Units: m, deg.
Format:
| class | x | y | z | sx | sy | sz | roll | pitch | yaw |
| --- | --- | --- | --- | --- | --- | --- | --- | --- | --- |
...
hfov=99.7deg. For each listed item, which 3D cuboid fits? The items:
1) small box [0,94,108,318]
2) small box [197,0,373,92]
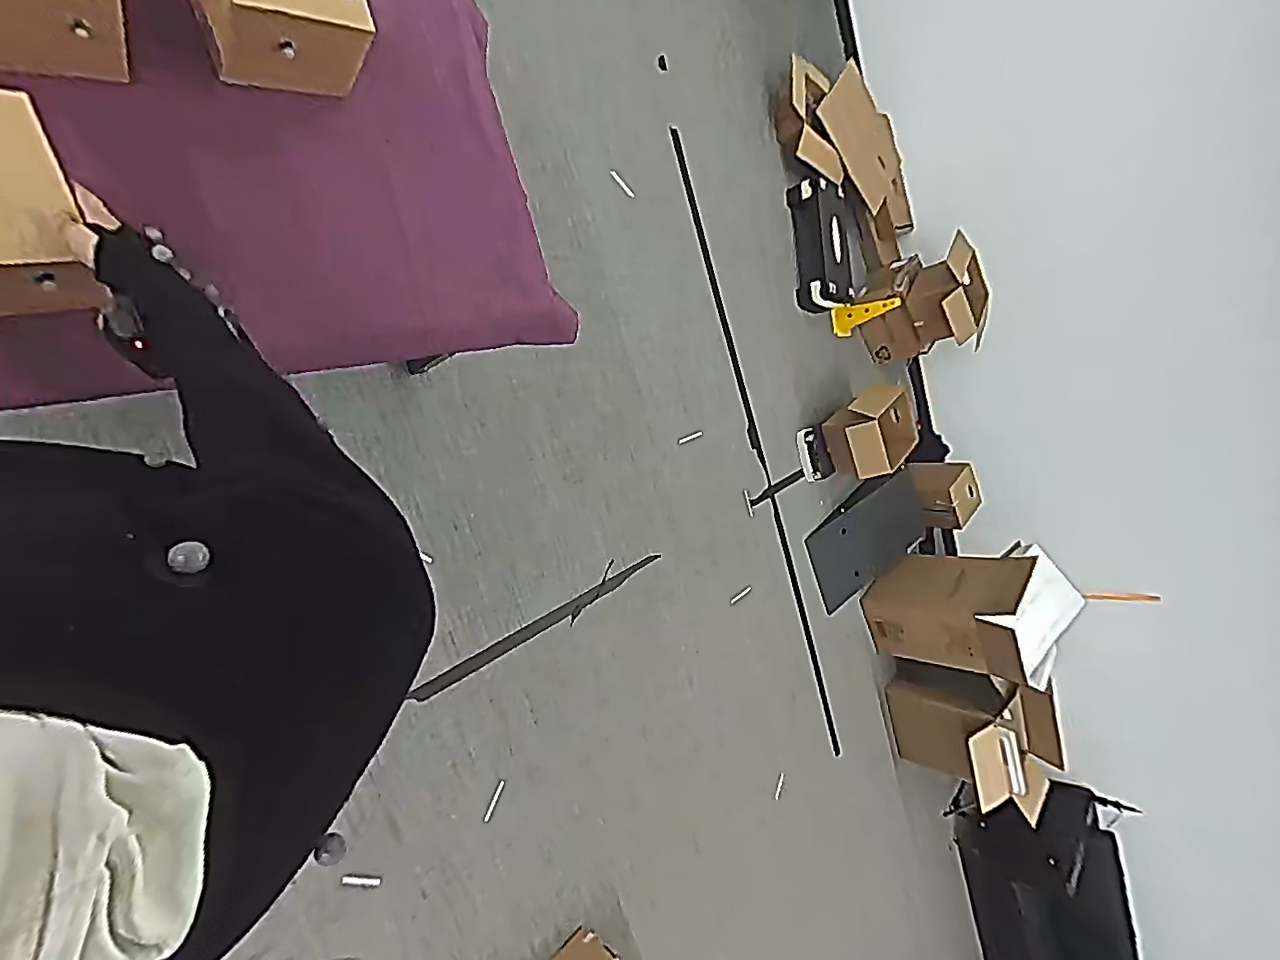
| class | x | y | z | sx | sy | sz | roll | pitch | yaw |
| --- | --- | --- | --- | --- | --- | --- | --- | --- | --- |
| small box | -0.692 | -0.270 | 0.554 | 0.179 | 0.176 | 0.168 | -25 | 103 | -38 |
| small box | -0.501 | -0.671 | 0.743 | 0.179 | 0.176 | 0.168 | -24 | 105 | -38 |
